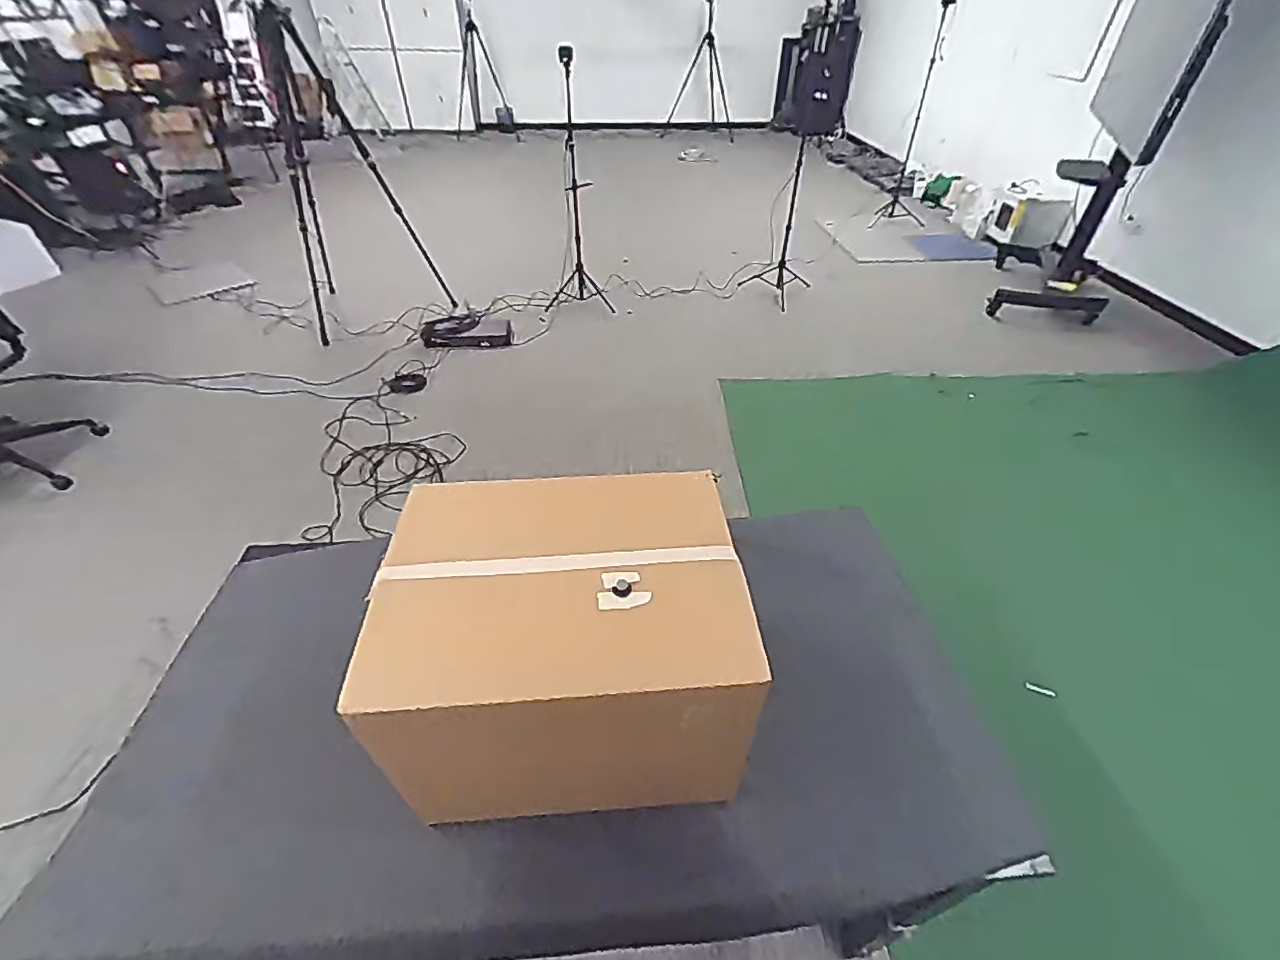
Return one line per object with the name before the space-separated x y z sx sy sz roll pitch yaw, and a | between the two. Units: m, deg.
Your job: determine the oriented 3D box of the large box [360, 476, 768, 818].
large box | -0.085 0.216 0.728 0.408 0.320 0.320 -3 42 -4
